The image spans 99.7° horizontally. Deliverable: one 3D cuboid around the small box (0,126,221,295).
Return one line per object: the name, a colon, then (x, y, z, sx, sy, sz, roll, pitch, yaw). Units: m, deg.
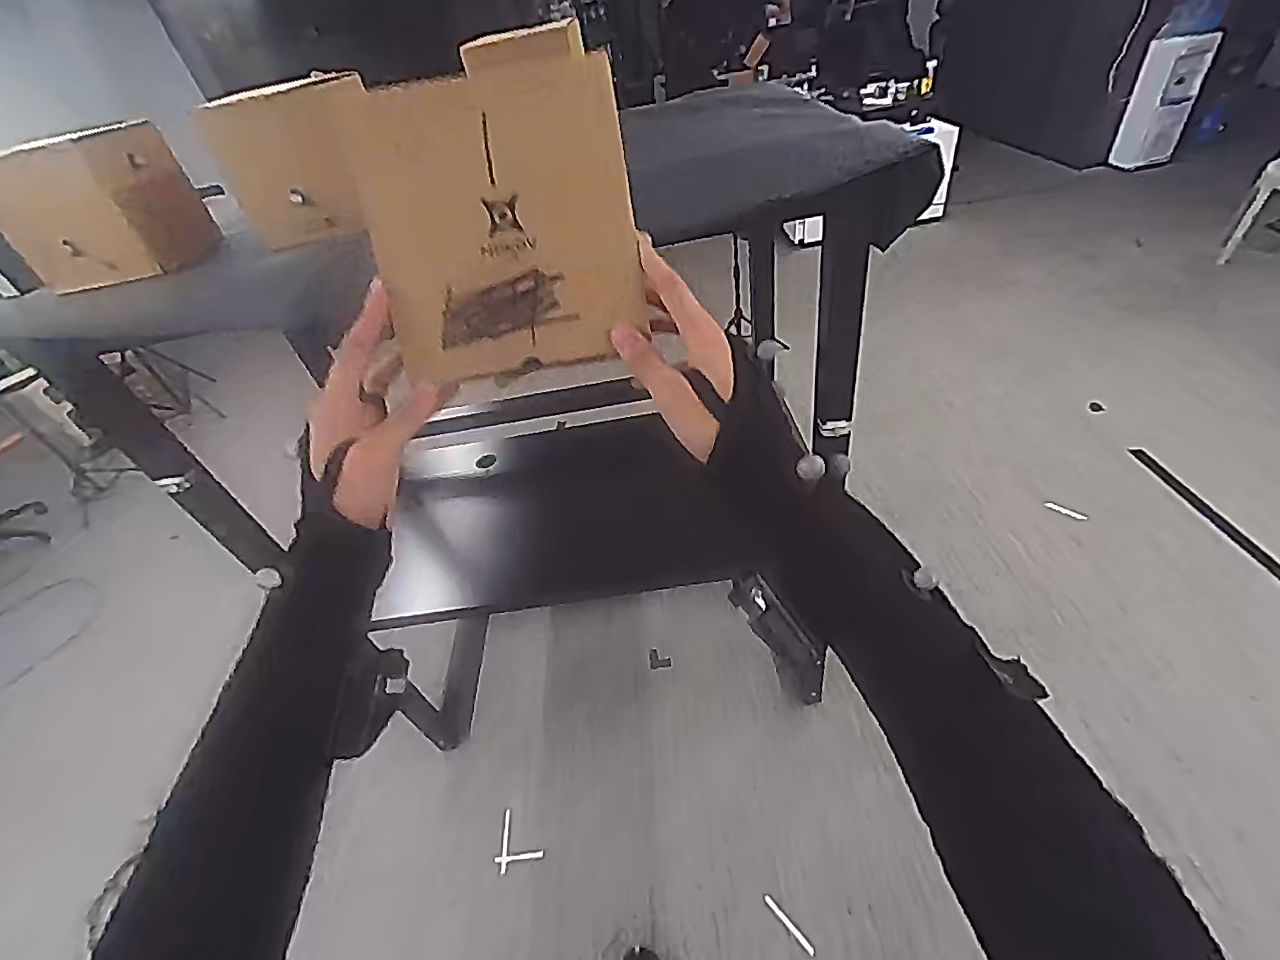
small box: (-0.755, -0.385, 0.773, 0.168, 0.176, 0.179, -10, 41, 1)

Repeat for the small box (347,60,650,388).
small box: (-0.086, -0.177, 0.421, 0.168, 0.179, 0.176, -9, 14, 0)

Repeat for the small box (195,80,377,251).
small box: (-0.455, -0.444, 0.765, 0.168, 0.176, 0.179, -10, 41, 3)
